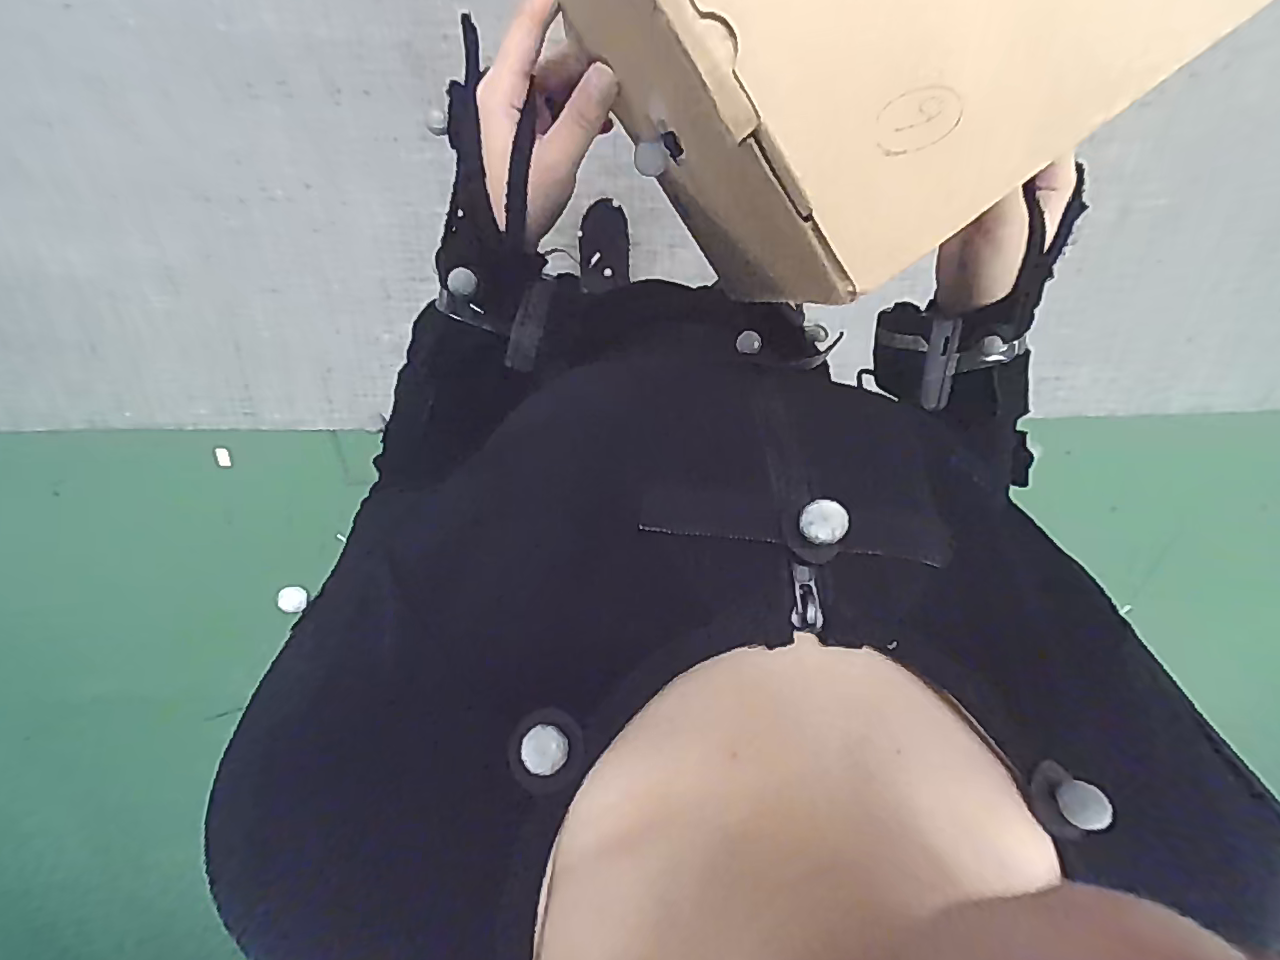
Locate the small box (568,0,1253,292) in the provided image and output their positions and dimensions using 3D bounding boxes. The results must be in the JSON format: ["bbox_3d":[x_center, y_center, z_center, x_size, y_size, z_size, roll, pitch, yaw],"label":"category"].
[{"bbox_3d":[0.079,-0.191,0.214,0.179,0.176,0.168,-35,106,9],"label":"small box"}]
